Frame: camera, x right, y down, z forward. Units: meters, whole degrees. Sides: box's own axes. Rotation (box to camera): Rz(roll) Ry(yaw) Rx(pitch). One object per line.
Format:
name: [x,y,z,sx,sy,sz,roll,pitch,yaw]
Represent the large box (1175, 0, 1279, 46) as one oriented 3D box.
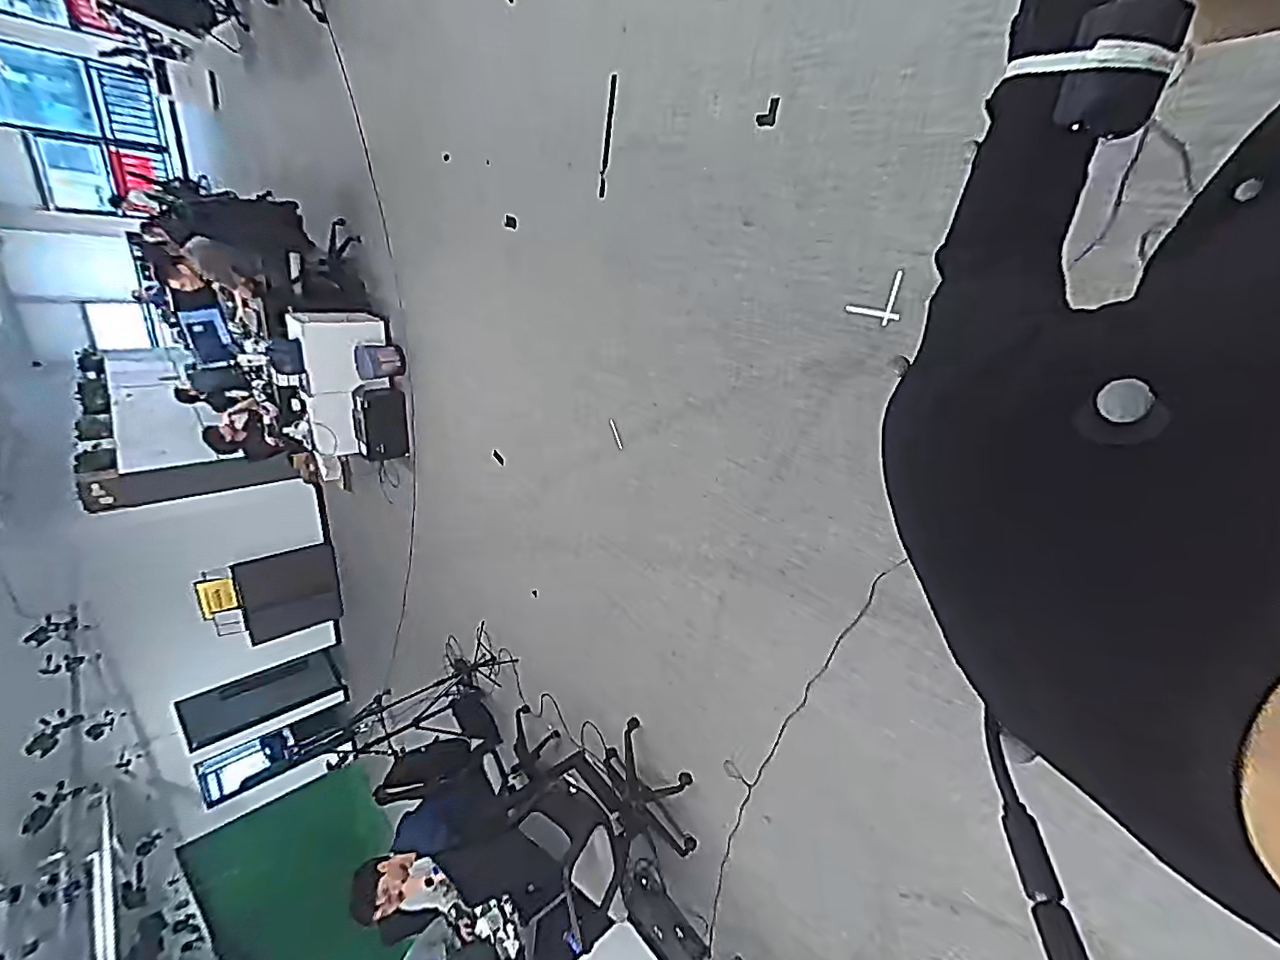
large box: [0.547,-0.445,0.228,0.408,0.320,0.320,20,126,41]
